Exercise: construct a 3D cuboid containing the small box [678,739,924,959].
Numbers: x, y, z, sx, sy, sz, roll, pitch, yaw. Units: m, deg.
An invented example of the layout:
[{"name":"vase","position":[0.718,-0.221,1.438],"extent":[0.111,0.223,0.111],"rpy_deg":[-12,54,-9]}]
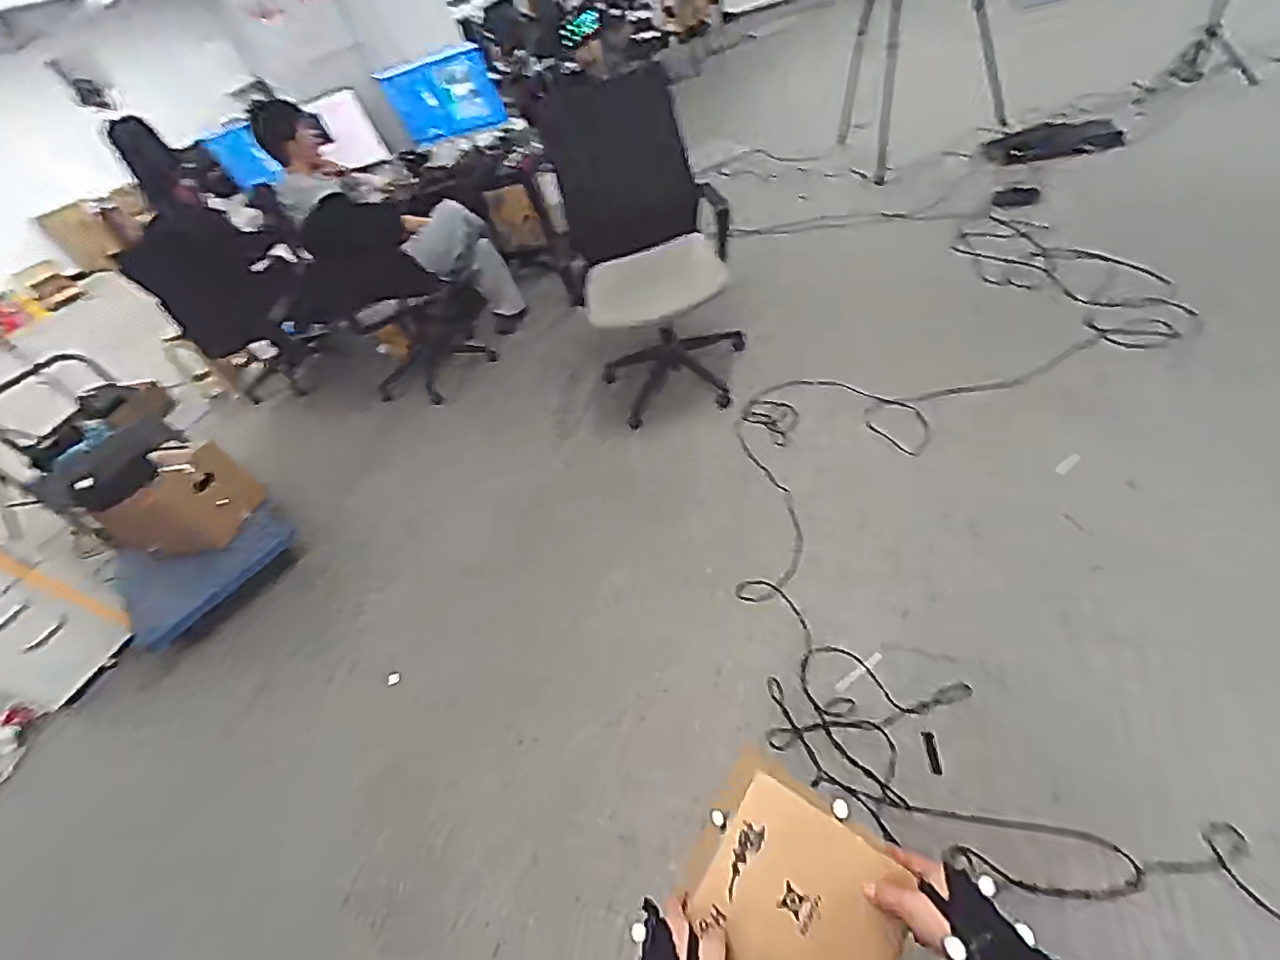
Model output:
[{"name":"small box","position":[0.158,0.406,0.581],"extent":[0.179,0.176,0.168],"rpy_deg":[30,78,14]}]
